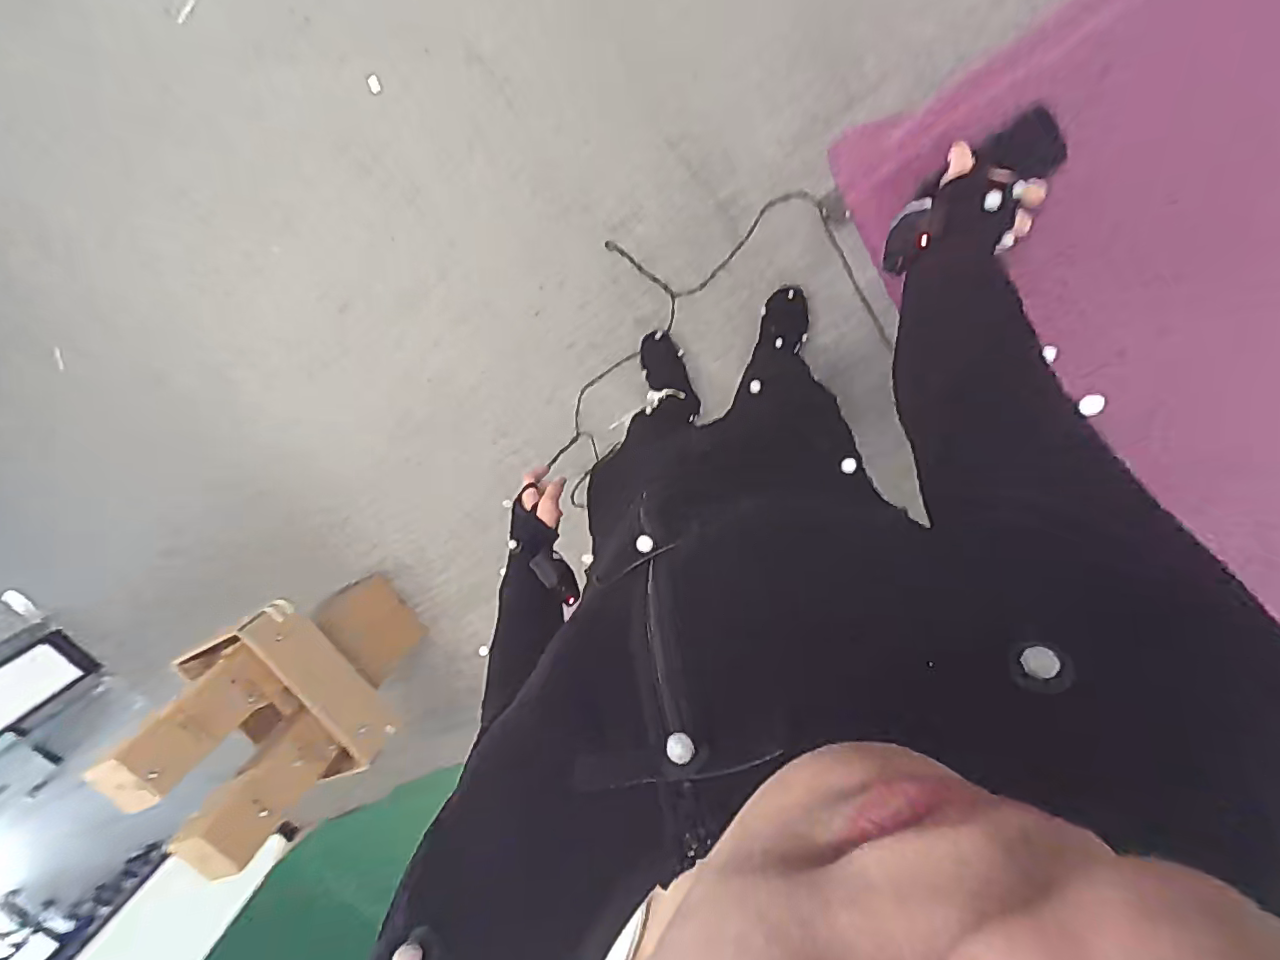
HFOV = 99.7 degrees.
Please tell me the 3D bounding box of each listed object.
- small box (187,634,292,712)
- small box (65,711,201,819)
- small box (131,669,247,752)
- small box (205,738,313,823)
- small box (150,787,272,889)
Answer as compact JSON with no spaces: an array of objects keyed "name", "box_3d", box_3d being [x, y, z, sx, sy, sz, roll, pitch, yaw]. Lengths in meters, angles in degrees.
[{"name":"small box","box_3d":[-1.268,0.623,1.722,0.179,0.176,0.168,-23,107,19]},{"name":"small box","box_3d":[-1.321,0.746,1.422,0.179,0.176,0.168,-27,106,21]},{"name":"small box","box_3d":[-1.296,0.681,1.571,0.179,0.176,0.168,-27,106,21]},{"name":"small box","box_3d":[-1.155,0.928,1.652,0.179,0.176,0.168,-27,107,21]},{"name":"small box","box_3d":[-1.184,0.993,1.505,0.179,0.176,0.168,-26,107,21]}]
